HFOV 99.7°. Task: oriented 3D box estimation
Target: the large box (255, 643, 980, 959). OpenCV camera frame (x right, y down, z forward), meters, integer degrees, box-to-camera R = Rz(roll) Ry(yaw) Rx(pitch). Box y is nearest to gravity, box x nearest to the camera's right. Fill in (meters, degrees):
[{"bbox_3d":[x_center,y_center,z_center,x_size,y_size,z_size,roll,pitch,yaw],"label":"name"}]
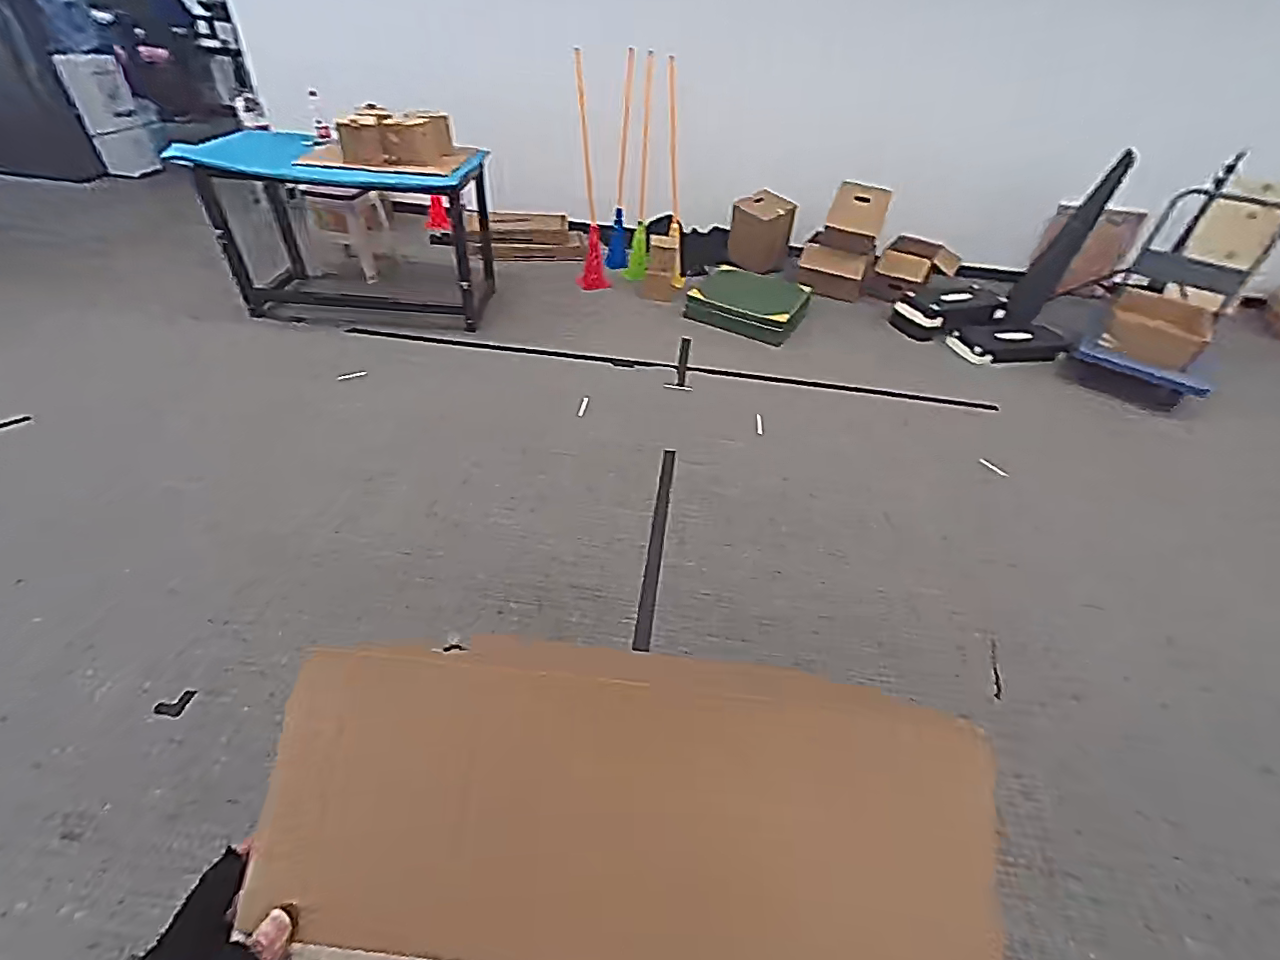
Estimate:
[{"bbox_3d":[-0.015,0.310,0.439,0.408,0.320,0.320,5,77,3],"label":"large box"}]
